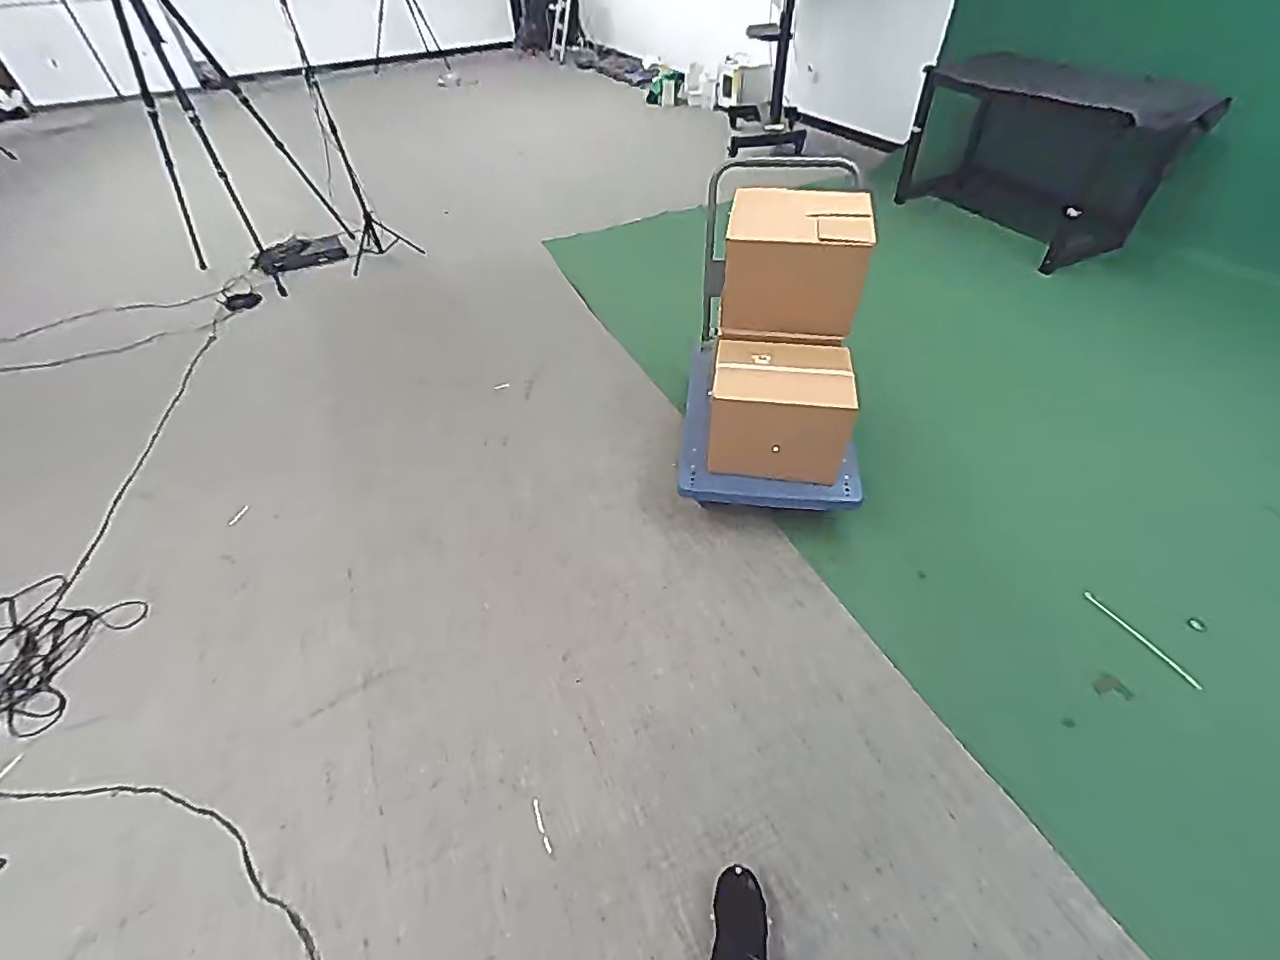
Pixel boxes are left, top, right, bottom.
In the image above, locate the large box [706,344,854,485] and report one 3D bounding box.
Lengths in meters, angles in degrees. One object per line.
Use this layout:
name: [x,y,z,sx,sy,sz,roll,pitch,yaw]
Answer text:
large box: [0.426,-0.207,1.714,0.408,0.320,0.320,5,46,9]
